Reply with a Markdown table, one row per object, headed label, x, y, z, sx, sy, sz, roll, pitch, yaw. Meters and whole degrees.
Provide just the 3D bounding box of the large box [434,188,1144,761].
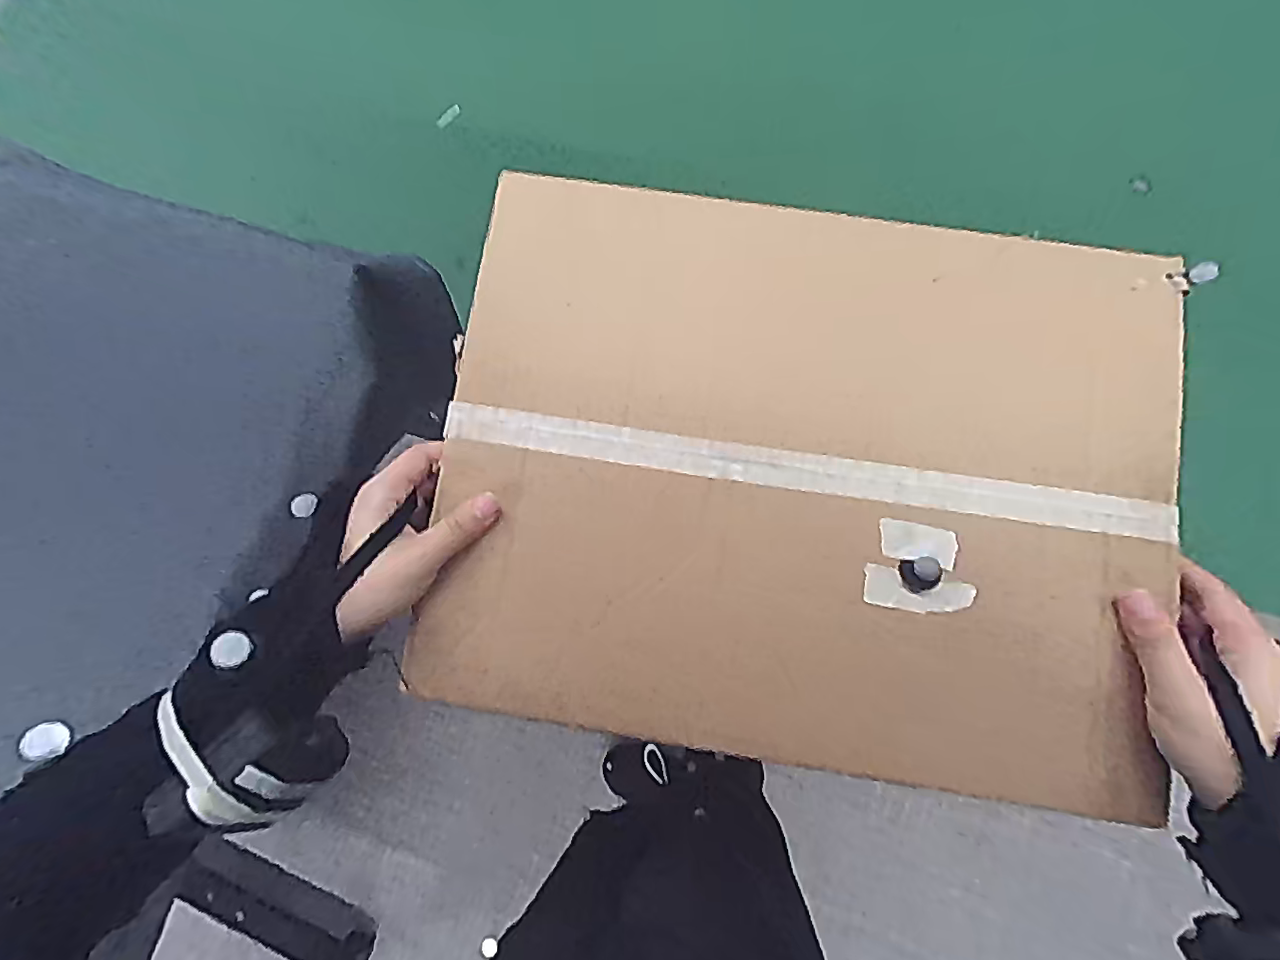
| label | x | y | z | sx | sy | sz | roll | pitch | yaw |
| --- | --- | --- | --- | --- | --- | --- | --- | --- | --- |
| large box | 0.095 | 0.004 | 0.471 | 0.408 | 0.320 | 0.320 | 8 | 83 | 2 |
